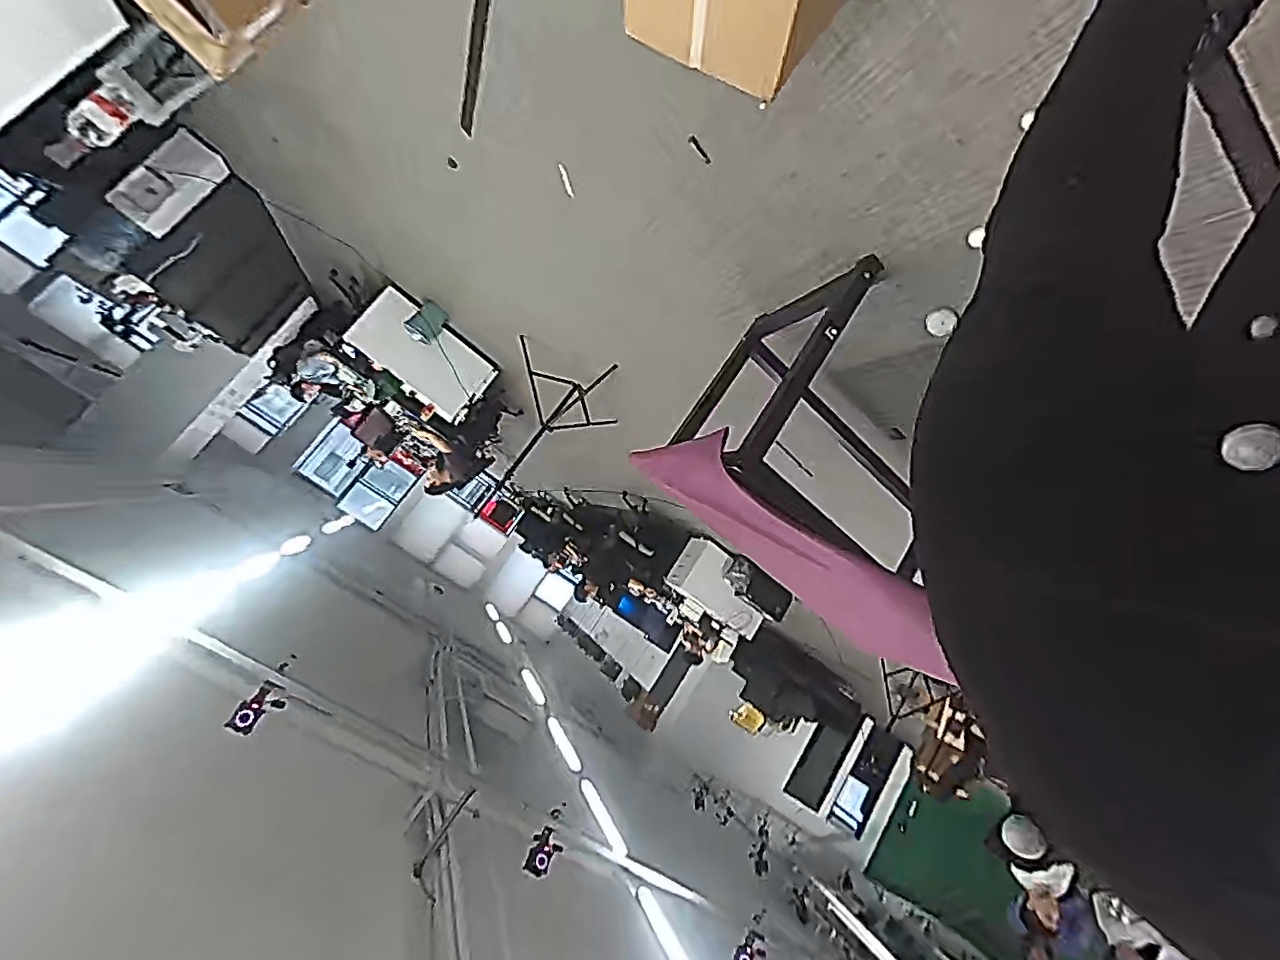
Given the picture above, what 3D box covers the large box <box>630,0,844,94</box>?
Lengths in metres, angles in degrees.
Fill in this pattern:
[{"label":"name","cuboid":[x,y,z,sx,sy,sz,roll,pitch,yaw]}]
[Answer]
[{"label":"large box","cuboid":[0.186,-0.915,0.795,0.320,0.320,0.408,33,168,9]}]
